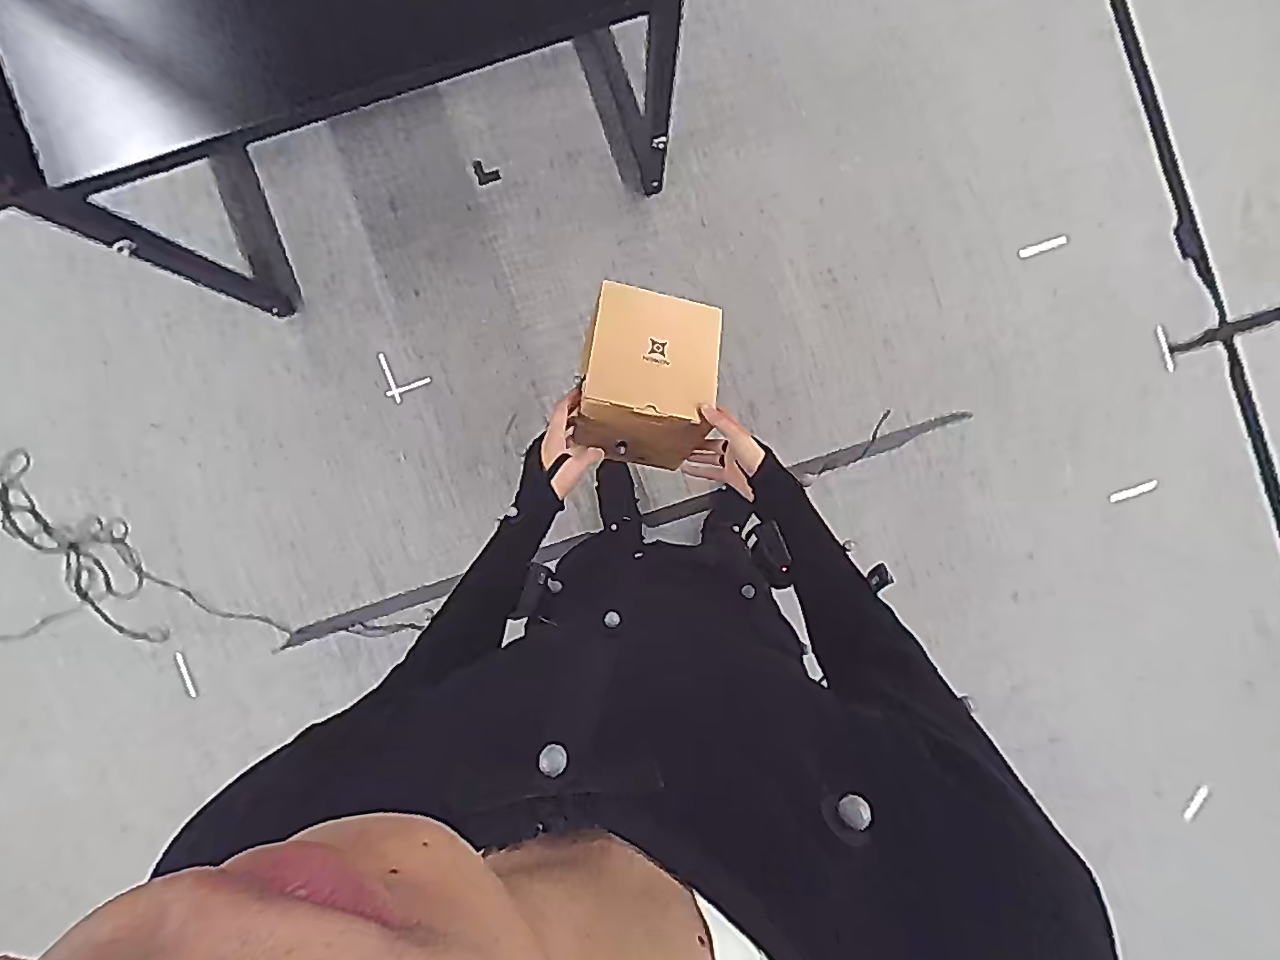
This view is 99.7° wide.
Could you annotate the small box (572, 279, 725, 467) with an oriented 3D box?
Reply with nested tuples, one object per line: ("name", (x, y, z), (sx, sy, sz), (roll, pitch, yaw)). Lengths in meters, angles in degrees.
("small box", (0.006, -0.137, 0.748), (0.168, 0.176, 0.179), (11, 70, -11))
